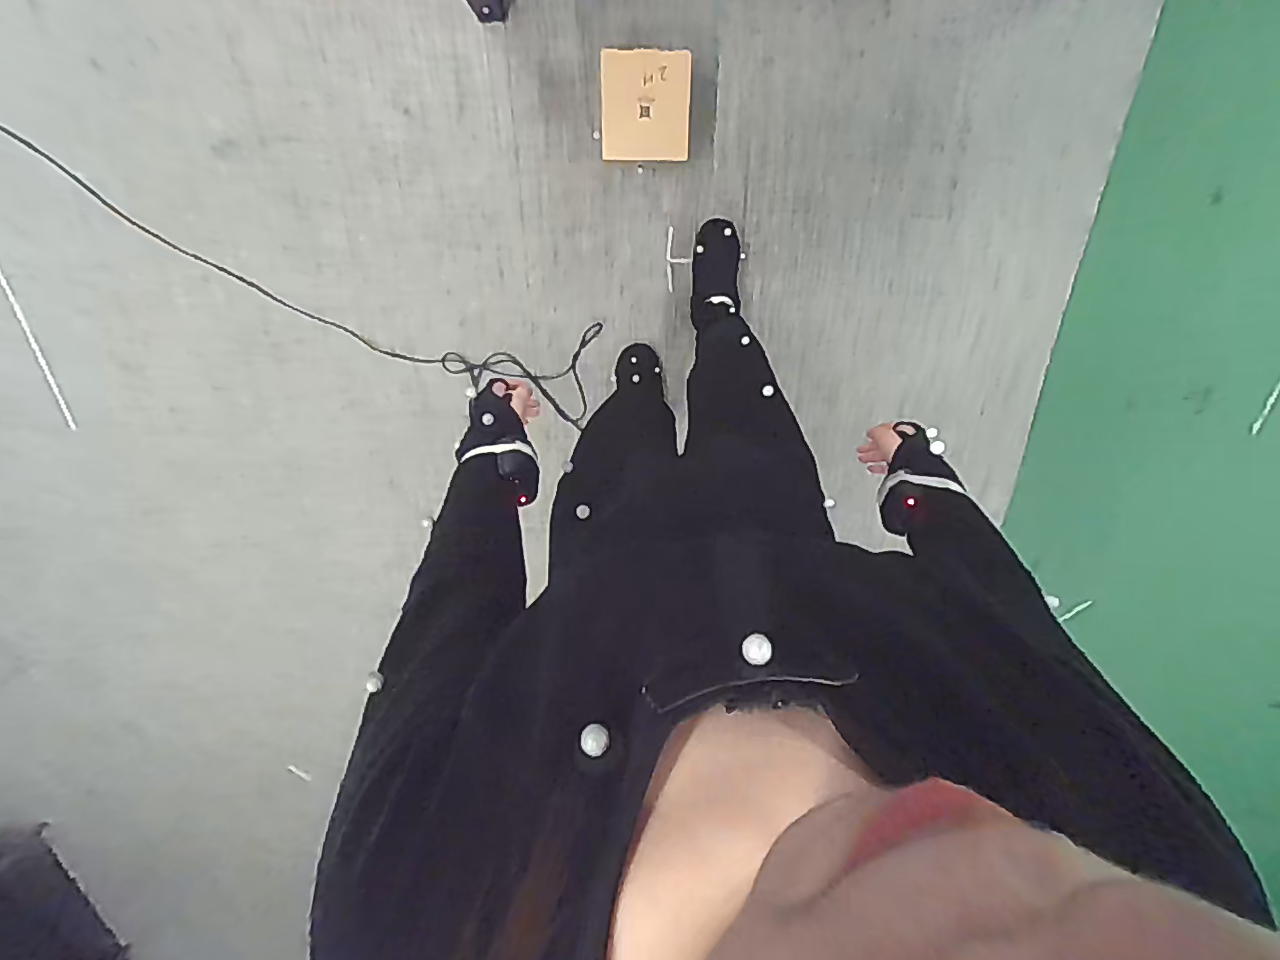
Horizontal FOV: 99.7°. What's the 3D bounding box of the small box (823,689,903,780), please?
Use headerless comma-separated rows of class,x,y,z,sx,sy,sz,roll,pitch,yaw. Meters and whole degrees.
small box,0.640,0.728,1.566,0.168,0.176,0.179,-10,115,3

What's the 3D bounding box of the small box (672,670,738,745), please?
small box,0.201,0.732,1.734,0.179,0.176,0.168,6,114,-4

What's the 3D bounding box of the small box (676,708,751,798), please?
small box,0.206,0.792,1.580,0.179,0.176,0.168,6,114,-6
